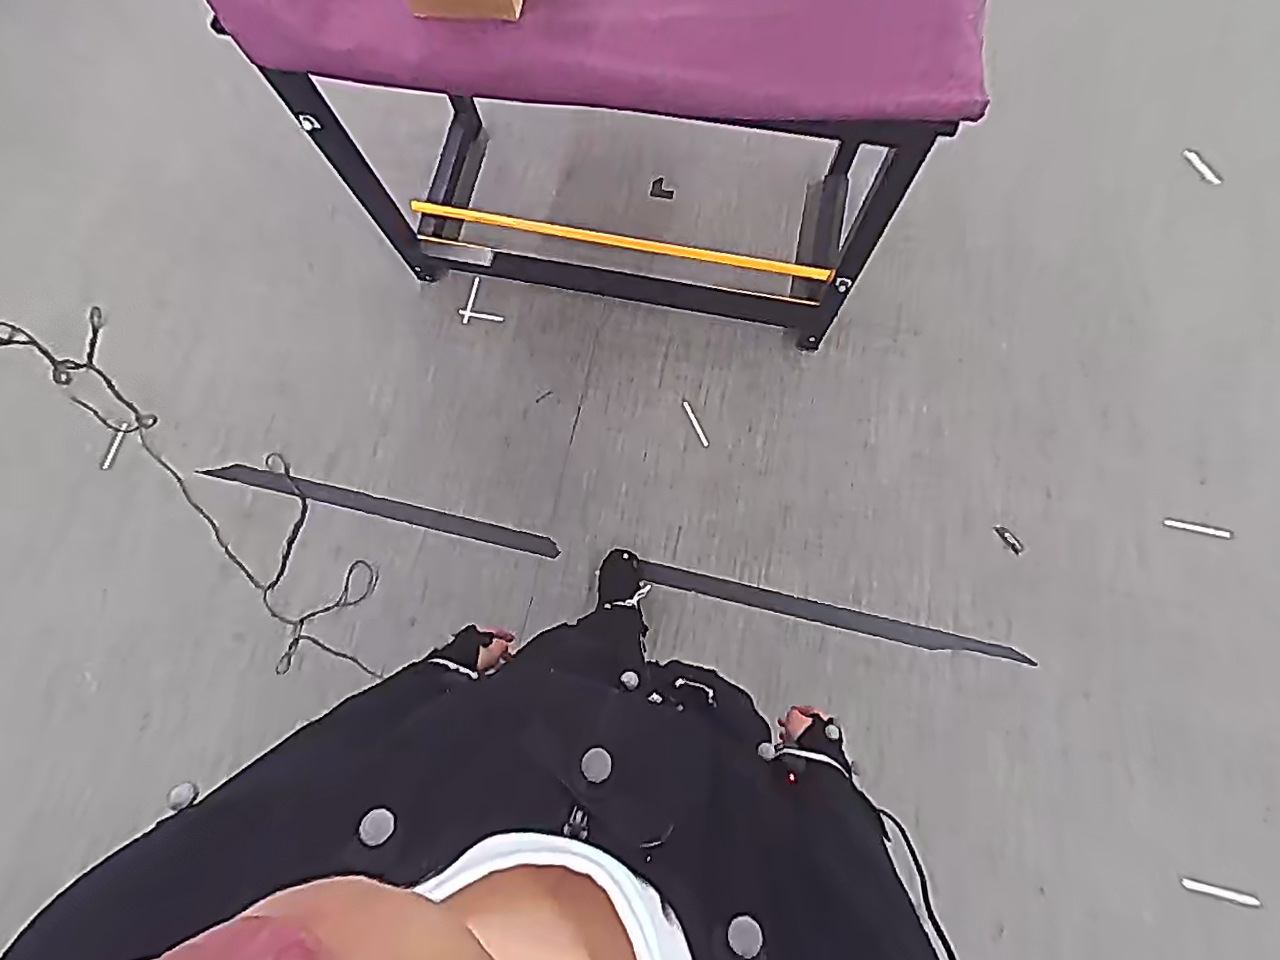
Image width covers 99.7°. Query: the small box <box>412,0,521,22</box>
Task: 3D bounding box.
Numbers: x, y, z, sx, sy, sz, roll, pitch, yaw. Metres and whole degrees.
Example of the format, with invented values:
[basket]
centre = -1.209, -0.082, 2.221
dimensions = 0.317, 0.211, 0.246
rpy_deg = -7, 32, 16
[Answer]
[small box]
centre = -0.269, -0.835, 0.811
dimensions = 0.179, 0.176, 0.168
rpy_deg = 6, 77, 4
